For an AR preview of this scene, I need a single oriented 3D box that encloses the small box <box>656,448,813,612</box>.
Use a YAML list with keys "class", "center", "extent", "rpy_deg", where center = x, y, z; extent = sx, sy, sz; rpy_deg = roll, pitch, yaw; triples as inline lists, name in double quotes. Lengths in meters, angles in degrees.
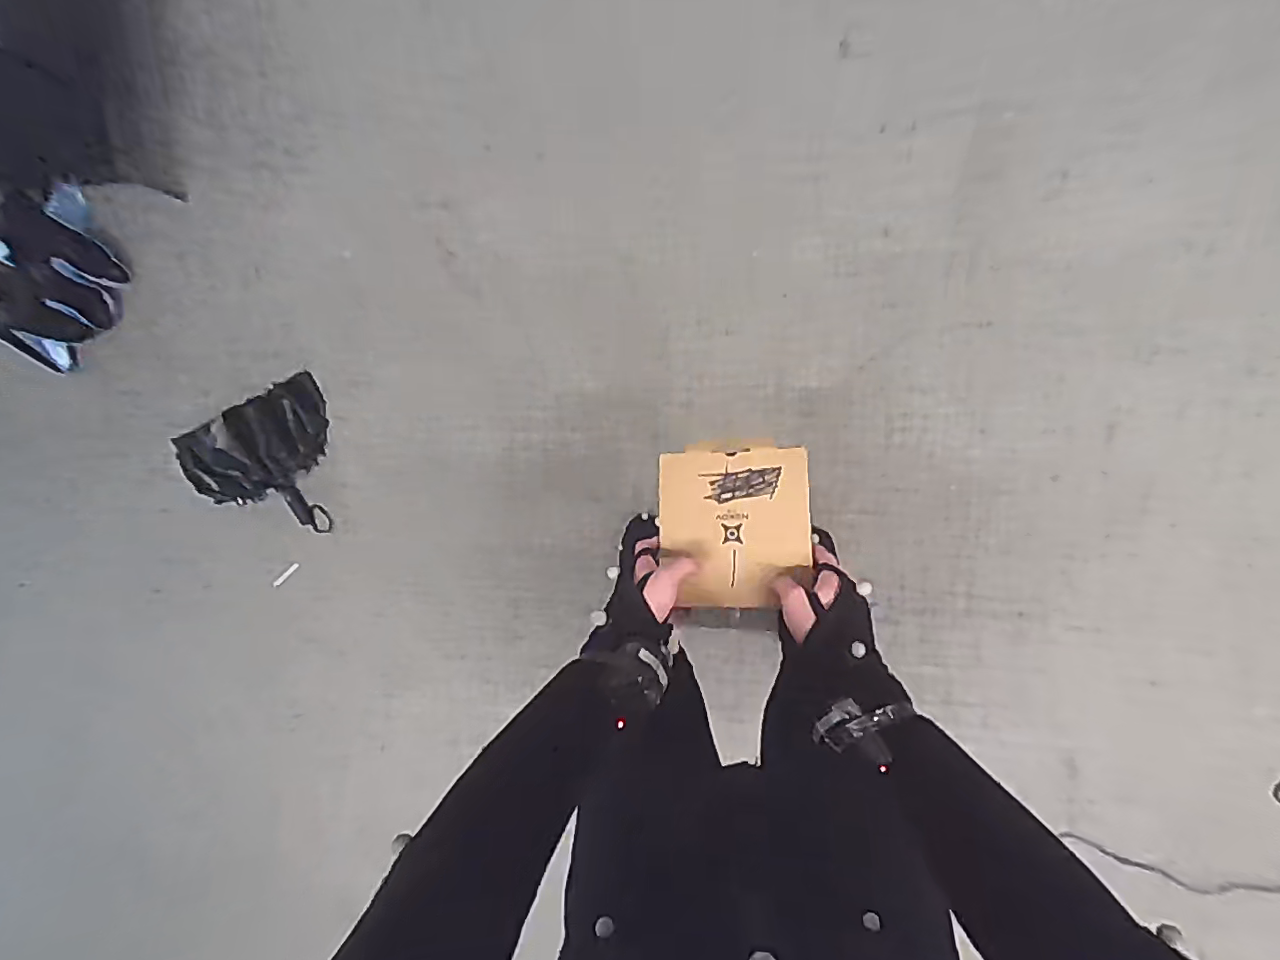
- class: "small box"
  center: [0.115, 0.069, 0.661]
  extent: [0.168, 0.176, 0.179]
  rpy_deg: [-3, 78, 13]
